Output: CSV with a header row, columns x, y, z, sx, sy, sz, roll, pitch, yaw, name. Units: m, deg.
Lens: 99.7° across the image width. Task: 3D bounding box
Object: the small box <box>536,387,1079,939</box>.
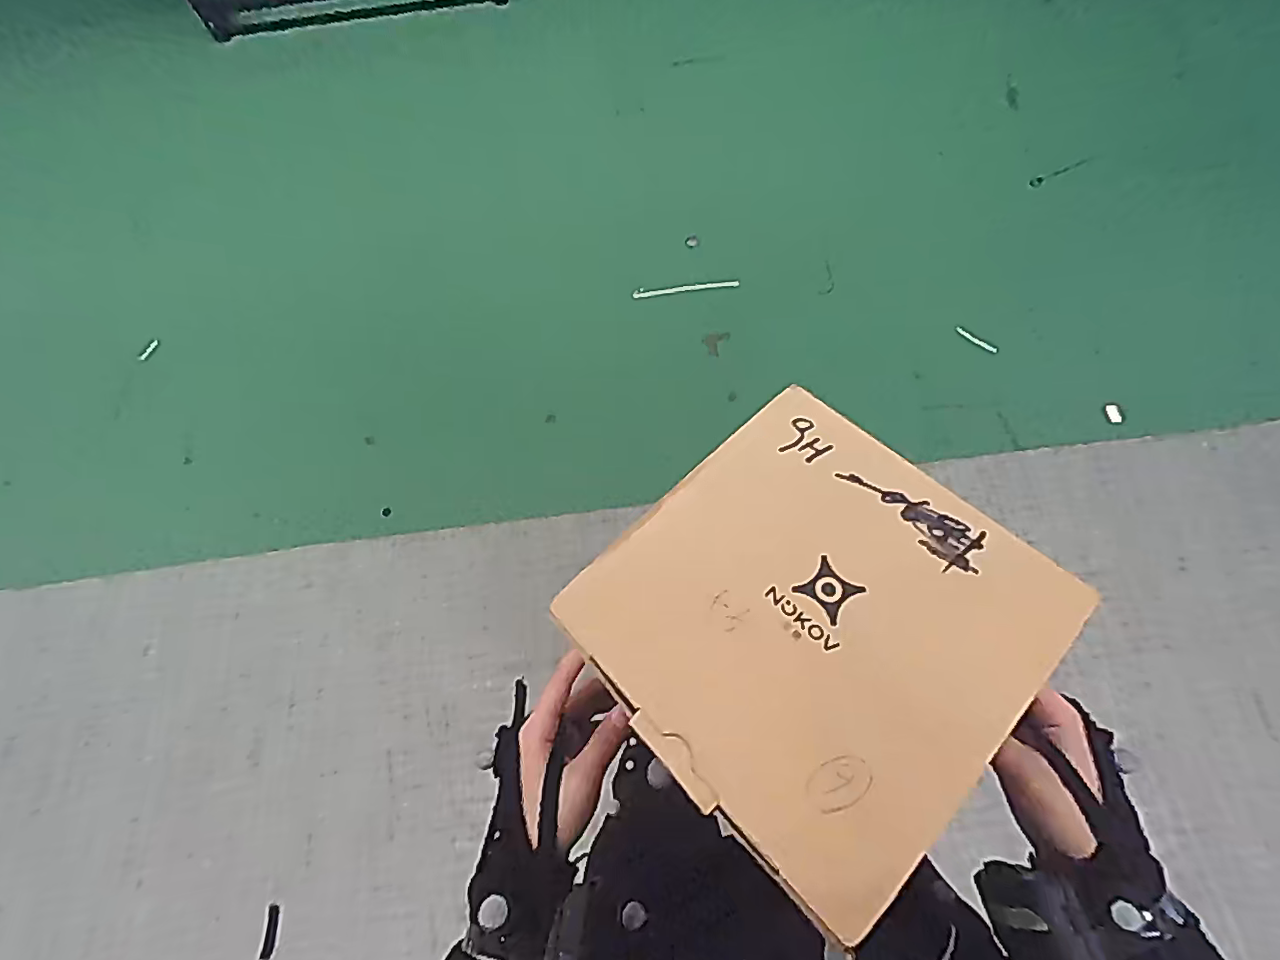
x,y,z,sx,sy,sz,roll,pitch,yaw,name
0.075,0.091,0.305,0.179,0.176,0.168,-41,66,-15,small box
